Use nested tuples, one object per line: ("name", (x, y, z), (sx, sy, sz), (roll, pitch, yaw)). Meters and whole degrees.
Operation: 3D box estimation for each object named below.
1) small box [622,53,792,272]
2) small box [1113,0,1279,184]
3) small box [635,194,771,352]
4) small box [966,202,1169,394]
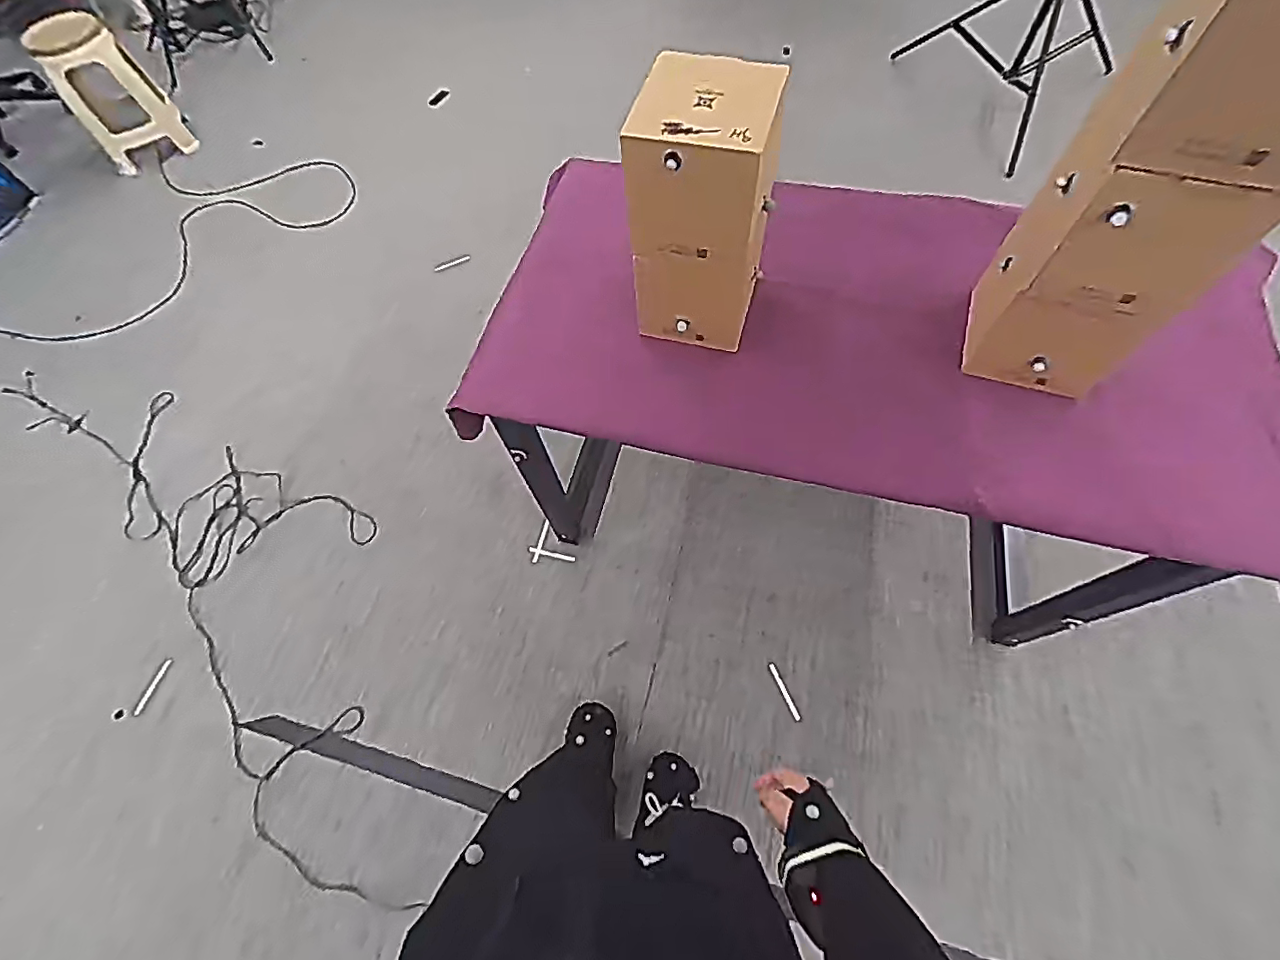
("small box", (0.085, -0.406, 0.700), (0.168, 0.176, 0.179), (14, 65, 11))
("small box", (0.565, -0.395, 0.476), (0.168, 0.176, 0.179), (19, 65, 12))
("small box", (0.097, -0.332, 0.846), (0.168, 0.176, 0.179), (13, 66, 11))
("small box", (0.593, -0.254, 0.769), (0.168, 0.176, 0.179), (17, 66, 13))
